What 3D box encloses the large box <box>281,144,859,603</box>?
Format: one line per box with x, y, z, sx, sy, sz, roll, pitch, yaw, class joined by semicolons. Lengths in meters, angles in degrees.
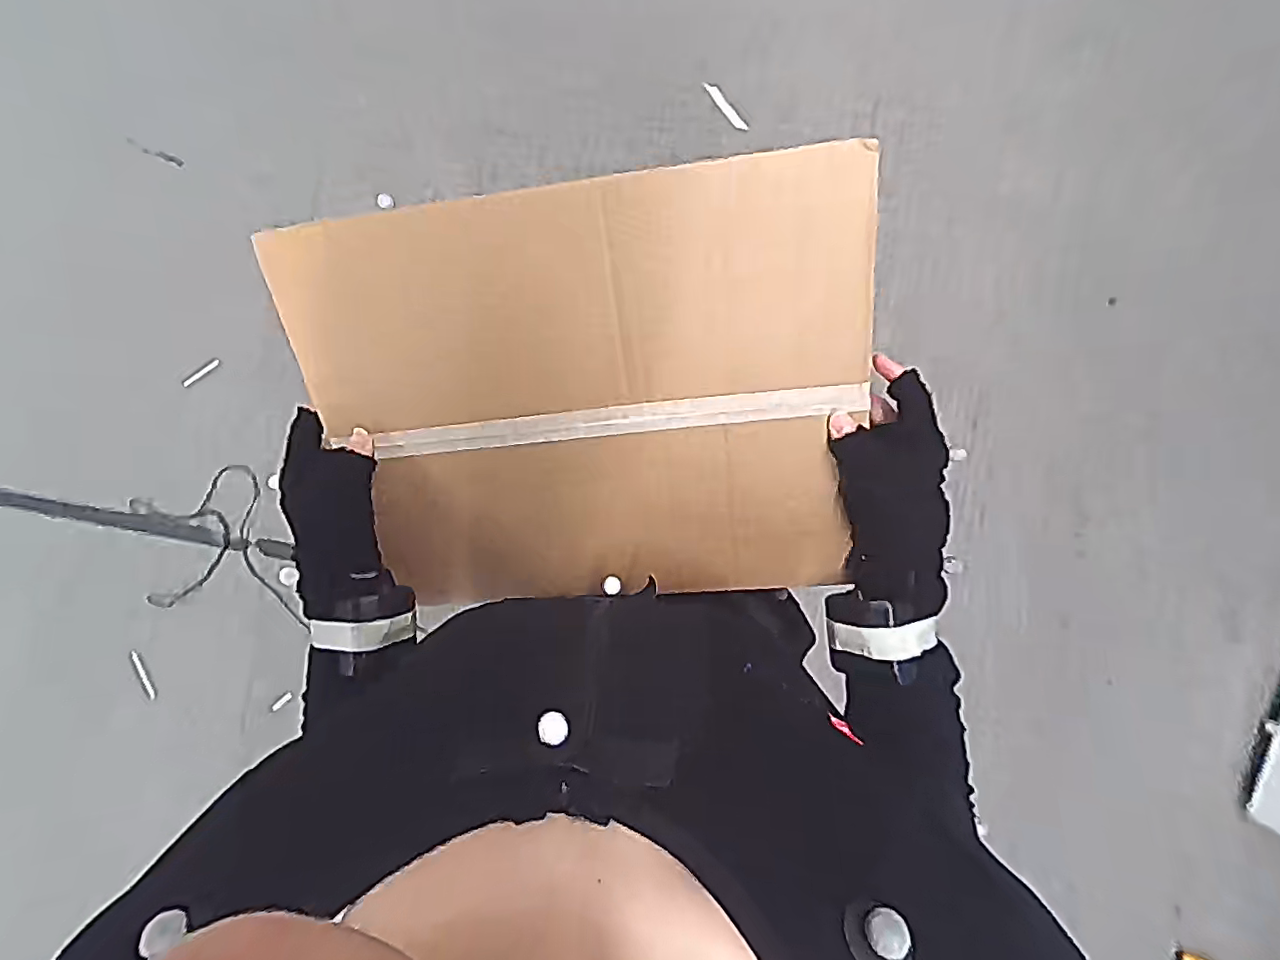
-0.029;-0.105;0.548;0.408;0.320;0.320;-6;115;8;large box
